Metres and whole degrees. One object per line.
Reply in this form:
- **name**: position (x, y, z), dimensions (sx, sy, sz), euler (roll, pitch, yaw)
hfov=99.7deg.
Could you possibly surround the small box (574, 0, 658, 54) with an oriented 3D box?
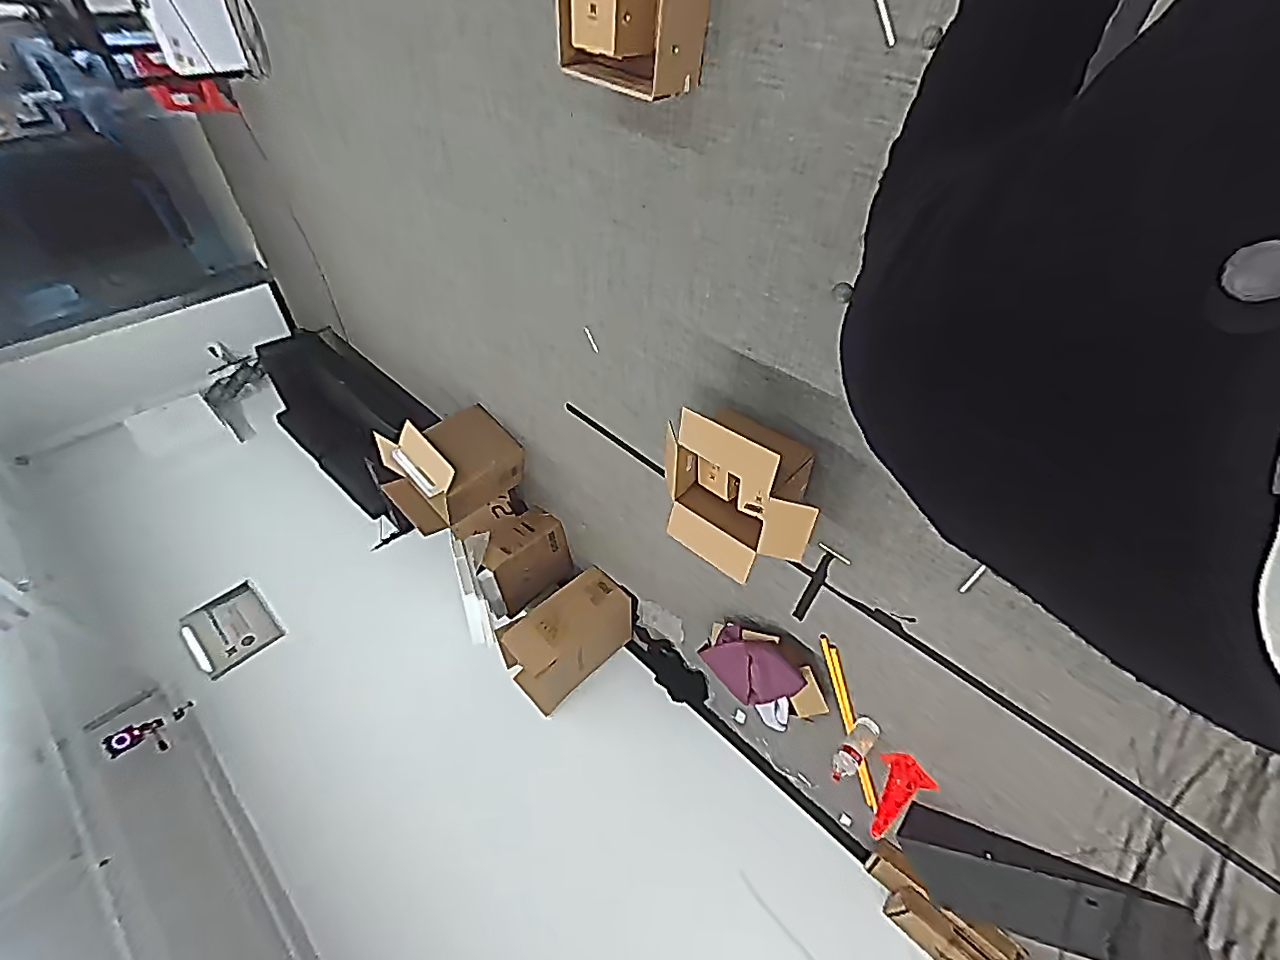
- **small box**: position (-0.063, -1.288, 1.467), dimensions (0.168, 0.176, 0.179), euler (35, 142, 24)
